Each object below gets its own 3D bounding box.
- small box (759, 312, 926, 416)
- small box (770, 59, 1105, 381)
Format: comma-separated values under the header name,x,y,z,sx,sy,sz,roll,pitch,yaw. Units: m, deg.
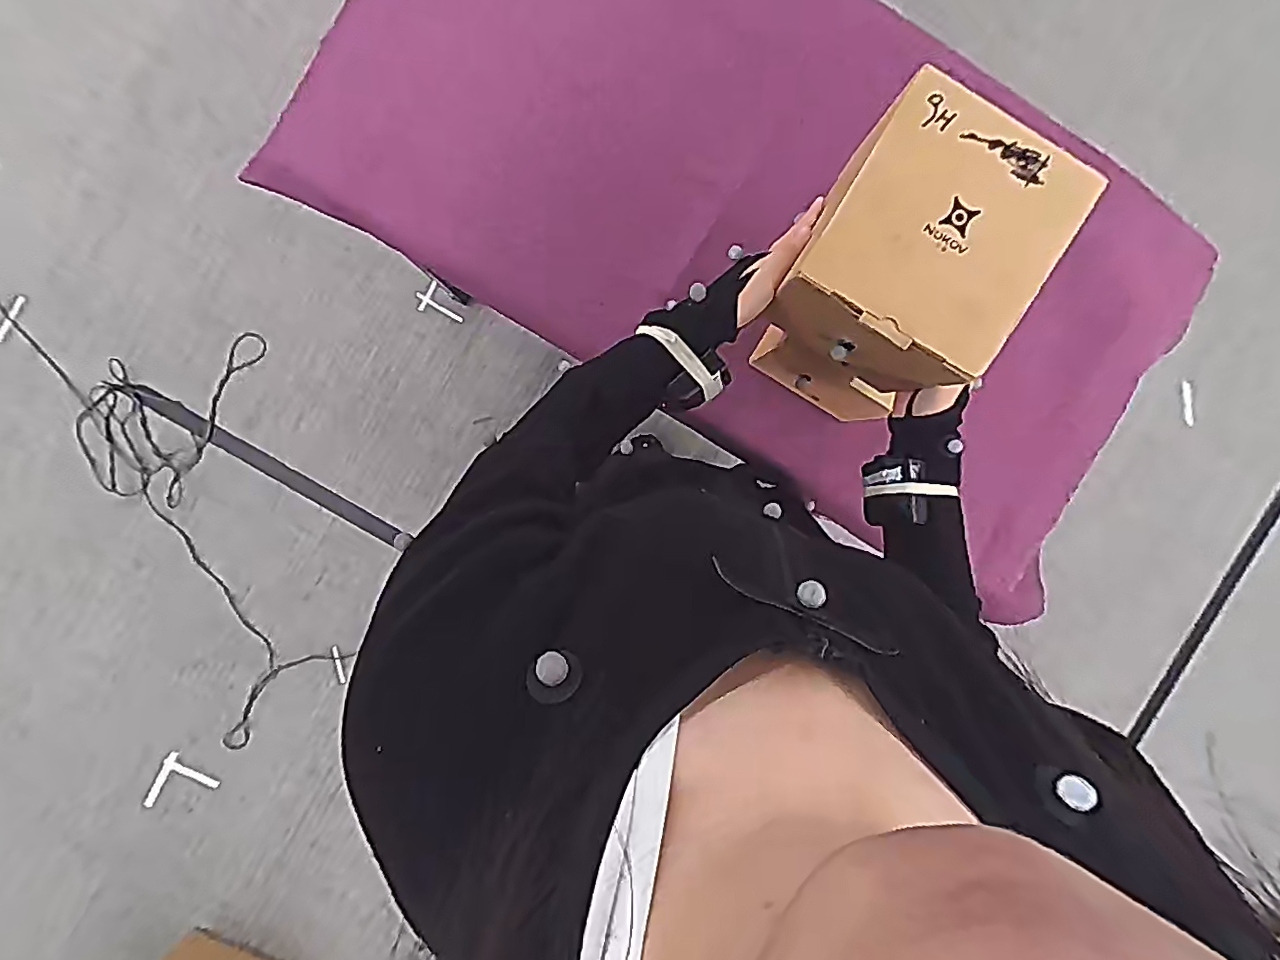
name,x,y,z,sx,sy,sz,roll,pitch,yaw
small box,0.272,-0.195,0.692,0.168,0.176,0.179,31,91,-4
small box,0.234,-0.203,0.485,0.168,0.176,0.179,31,97,-3
